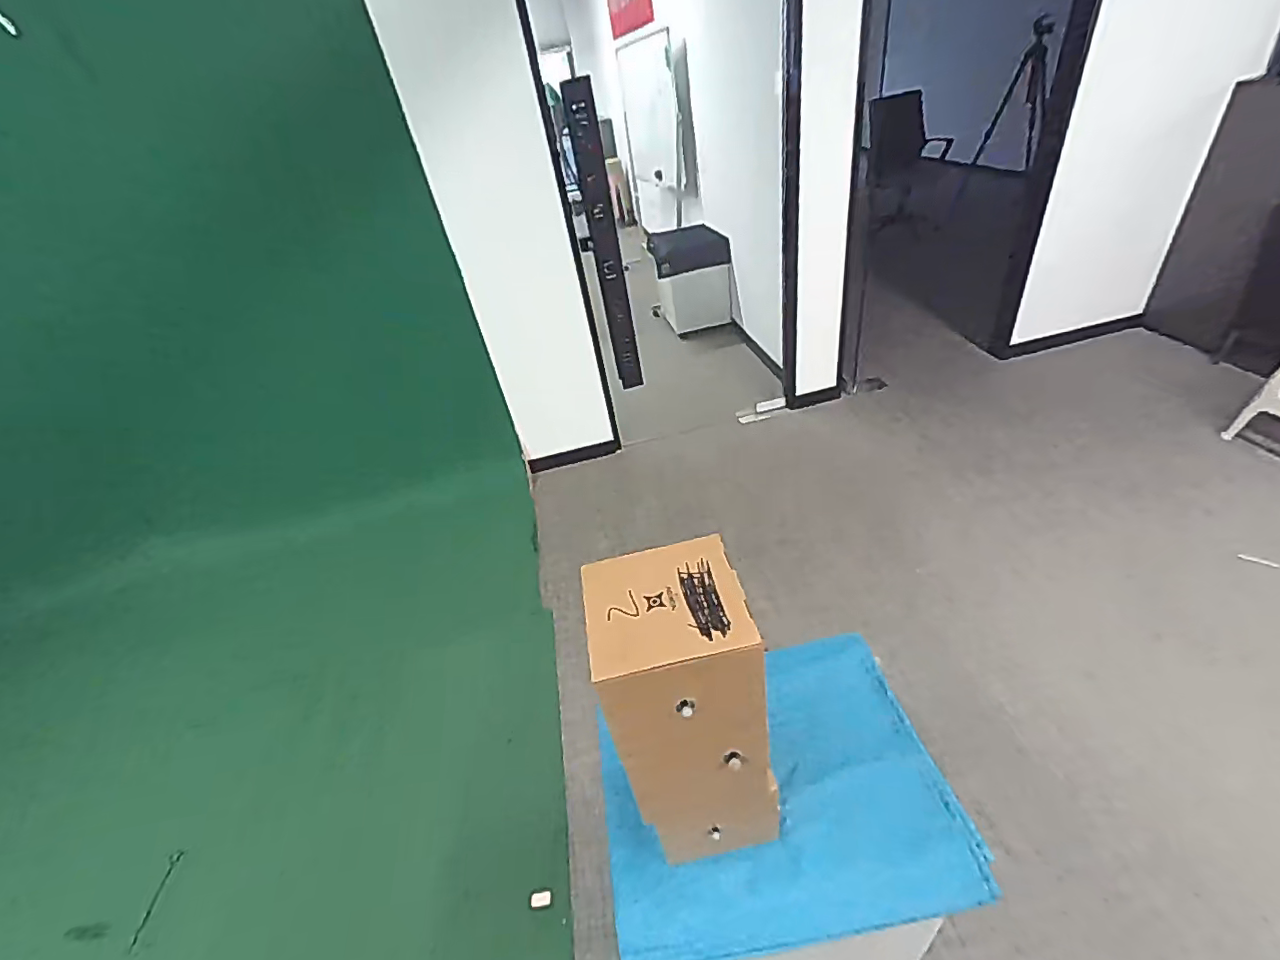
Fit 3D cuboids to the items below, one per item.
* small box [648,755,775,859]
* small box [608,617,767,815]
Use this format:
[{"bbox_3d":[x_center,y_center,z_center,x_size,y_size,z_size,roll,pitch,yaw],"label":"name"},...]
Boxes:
[{"bbox_3d":[0.096,0.445,0.829,0.179,0.176,0.168,-13,36,-2],"label":"small box"},{"bbox_3d":[0.062,0.318,0.730,0.179,0.176,0.168,-12,36,-2],"label":"small box"}]
